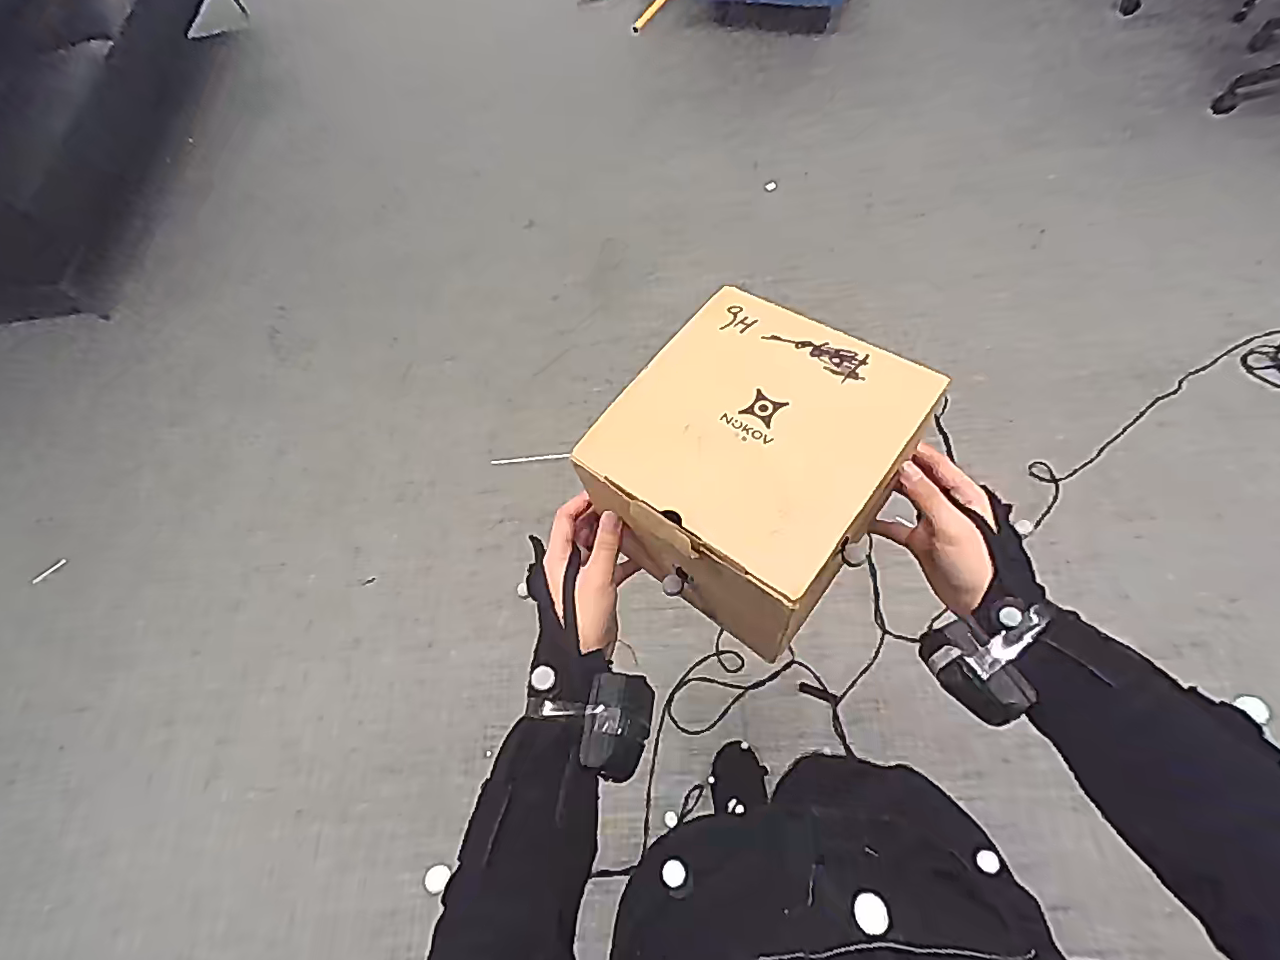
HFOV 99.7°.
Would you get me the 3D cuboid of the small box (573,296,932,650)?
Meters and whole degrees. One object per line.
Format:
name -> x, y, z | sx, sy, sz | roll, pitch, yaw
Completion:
small box -> 0.082, 0.003, 0.413 | 0.168, 0.176, 0.179 | 33, 72, 24
